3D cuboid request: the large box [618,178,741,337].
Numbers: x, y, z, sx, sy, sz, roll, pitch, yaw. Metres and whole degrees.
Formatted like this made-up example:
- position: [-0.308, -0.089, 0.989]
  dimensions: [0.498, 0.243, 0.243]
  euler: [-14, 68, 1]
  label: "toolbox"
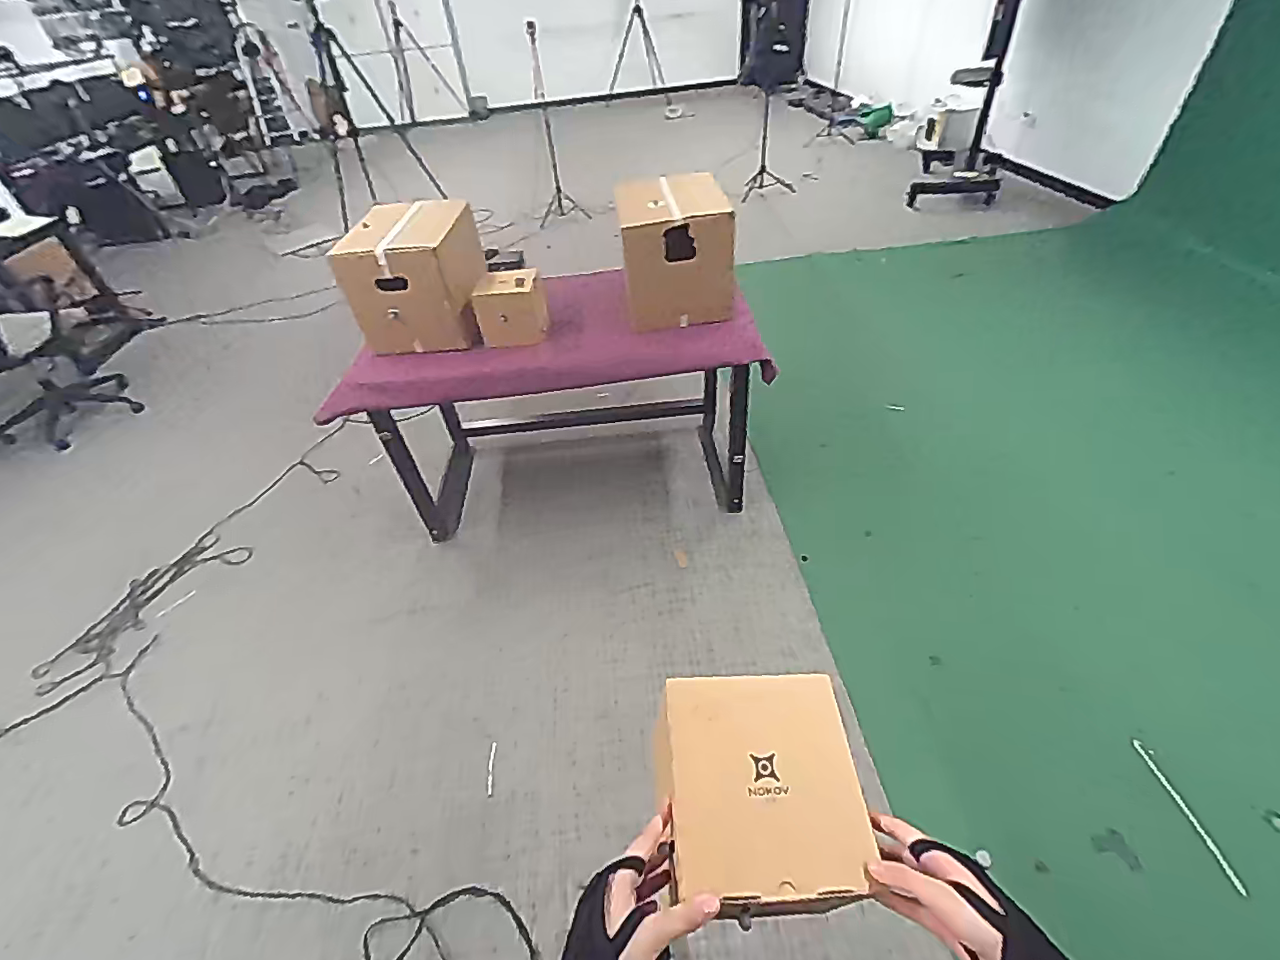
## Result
- position: [0.115, -0.696, 1.677]
  dimensions: [0.320, 0.320, 0.408]
  euler: [-8, 44, 2]
  label: "large box"
